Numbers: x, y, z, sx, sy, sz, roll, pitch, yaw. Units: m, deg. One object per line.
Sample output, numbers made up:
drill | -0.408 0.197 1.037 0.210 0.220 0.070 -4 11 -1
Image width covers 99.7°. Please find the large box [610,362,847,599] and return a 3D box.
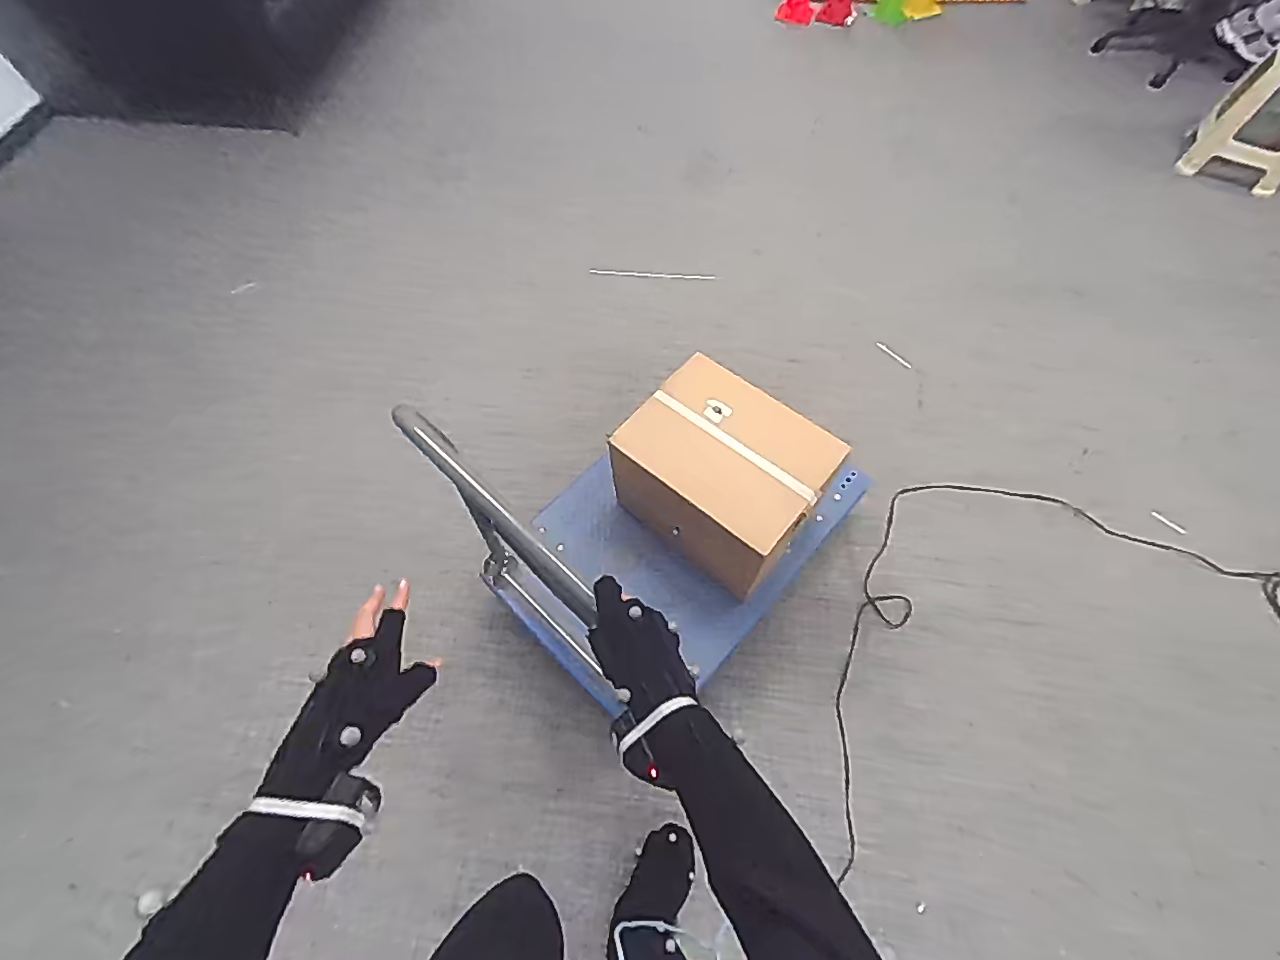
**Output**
large box | 0.190 0.007 1.258 0.408 0.320 0.320 36 68 20
